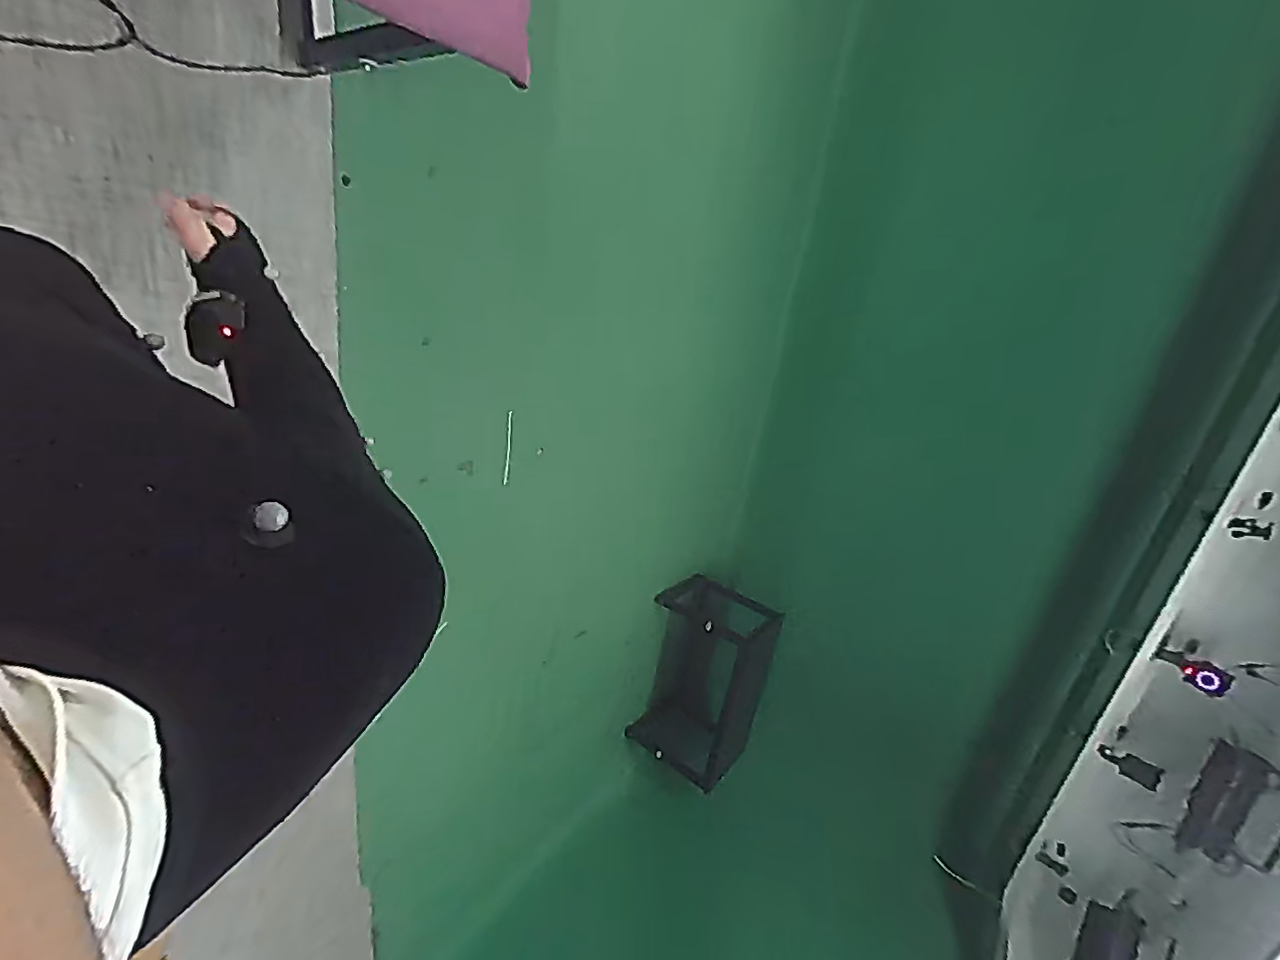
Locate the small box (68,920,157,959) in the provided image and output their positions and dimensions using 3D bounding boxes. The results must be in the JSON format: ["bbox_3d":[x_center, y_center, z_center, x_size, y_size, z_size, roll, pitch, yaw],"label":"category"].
[{"bbox_3d":[-1.356,1.294,1.389,0.168,0.176,0.179,-22,127,-47],"label":"small box"}]

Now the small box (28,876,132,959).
[{"bbox_3d":[-1.494,1.229,1.456,0.168,0.176,0.179,-24,129,-48],"label":"small box"}]
